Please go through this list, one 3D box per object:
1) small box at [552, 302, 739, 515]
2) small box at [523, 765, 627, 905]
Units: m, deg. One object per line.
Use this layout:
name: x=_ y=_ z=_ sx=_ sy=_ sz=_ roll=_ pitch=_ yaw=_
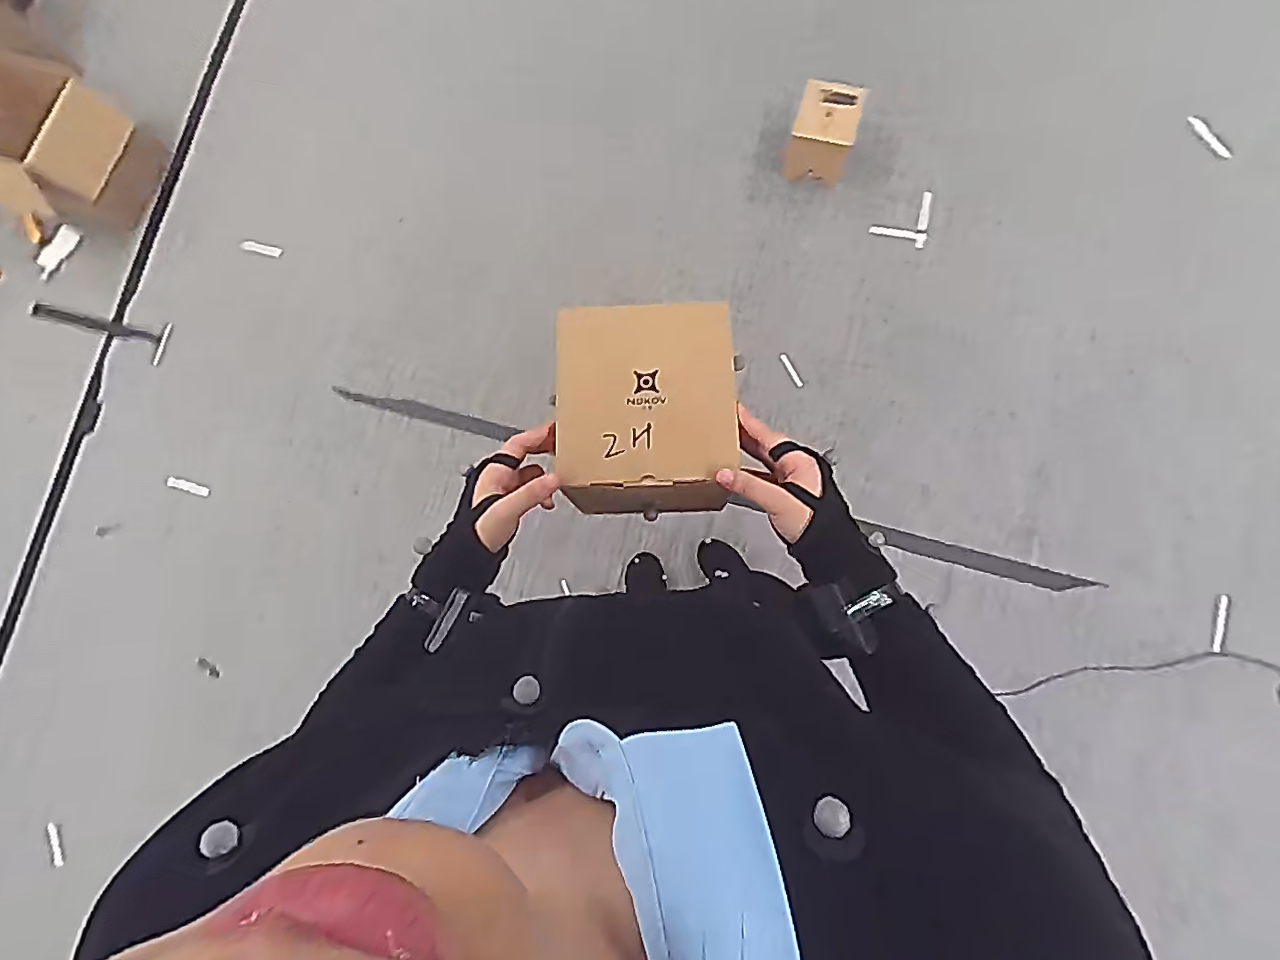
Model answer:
small box: x=0.007 y=-0.064 z=0.566 sx=0.168 sy=0.176 sz=0.179 roll=-1 pitch=77 yaw=3
small box: x=-0.131 y=0.756 z=1.172 sx=0.168 sy=0.176 sz=0.179 roll=12 pitch=83 yaw=8
